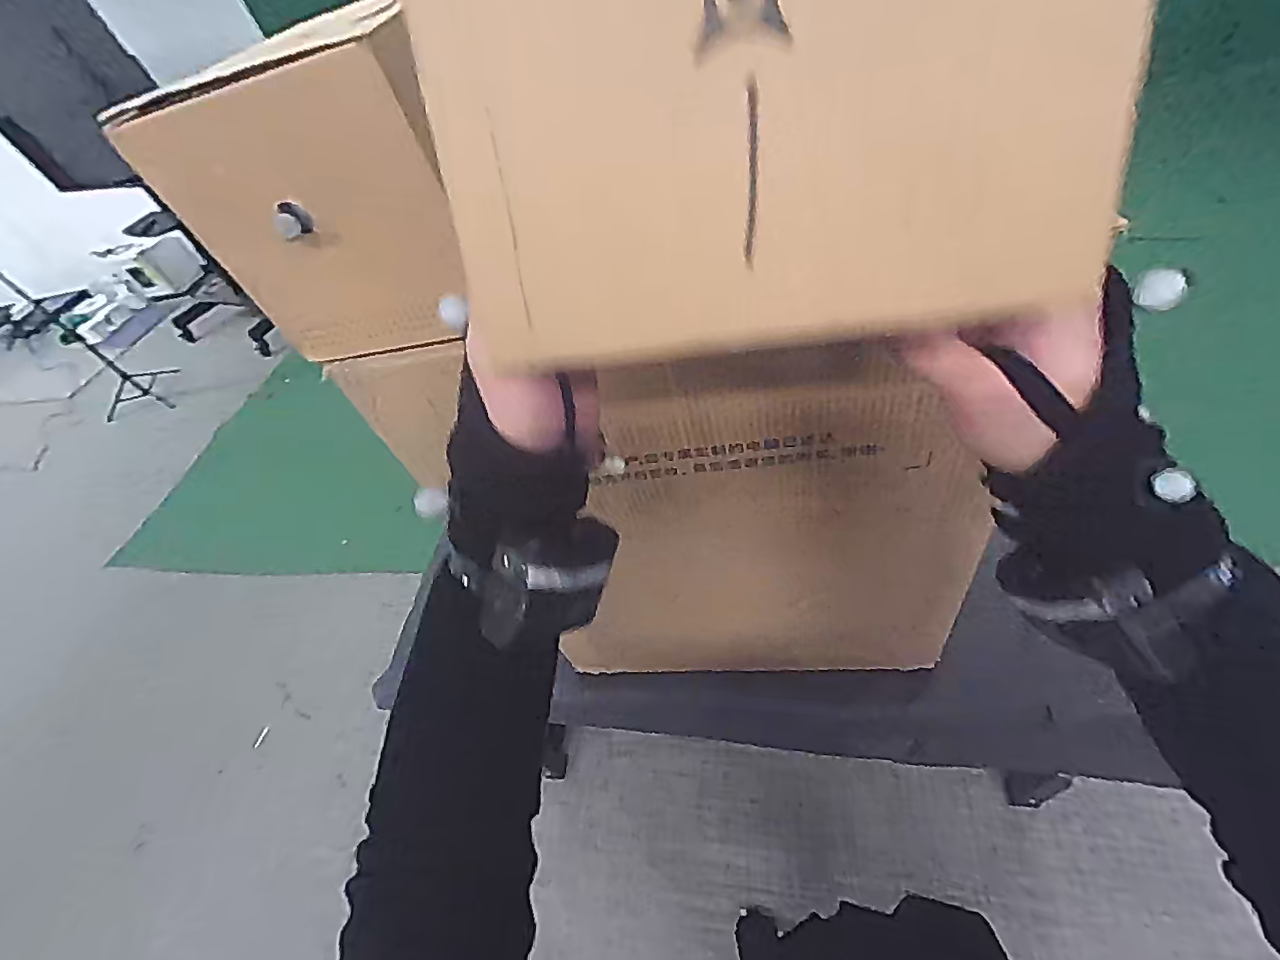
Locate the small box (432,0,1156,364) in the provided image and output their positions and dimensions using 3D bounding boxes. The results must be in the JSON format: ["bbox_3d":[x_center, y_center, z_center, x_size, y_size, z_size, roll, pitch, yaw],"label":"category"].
[{"bbox_3d":[0.041,-0.145,0.200,0.168,0.179,0.176,-3,18,11],"label":"small box"}]

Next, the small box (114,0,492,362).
[{"bbox_3d":[-0.177,-0.202,0.380,0.179,0.176,0.168,-5,51,14],"label":"small box"}]
